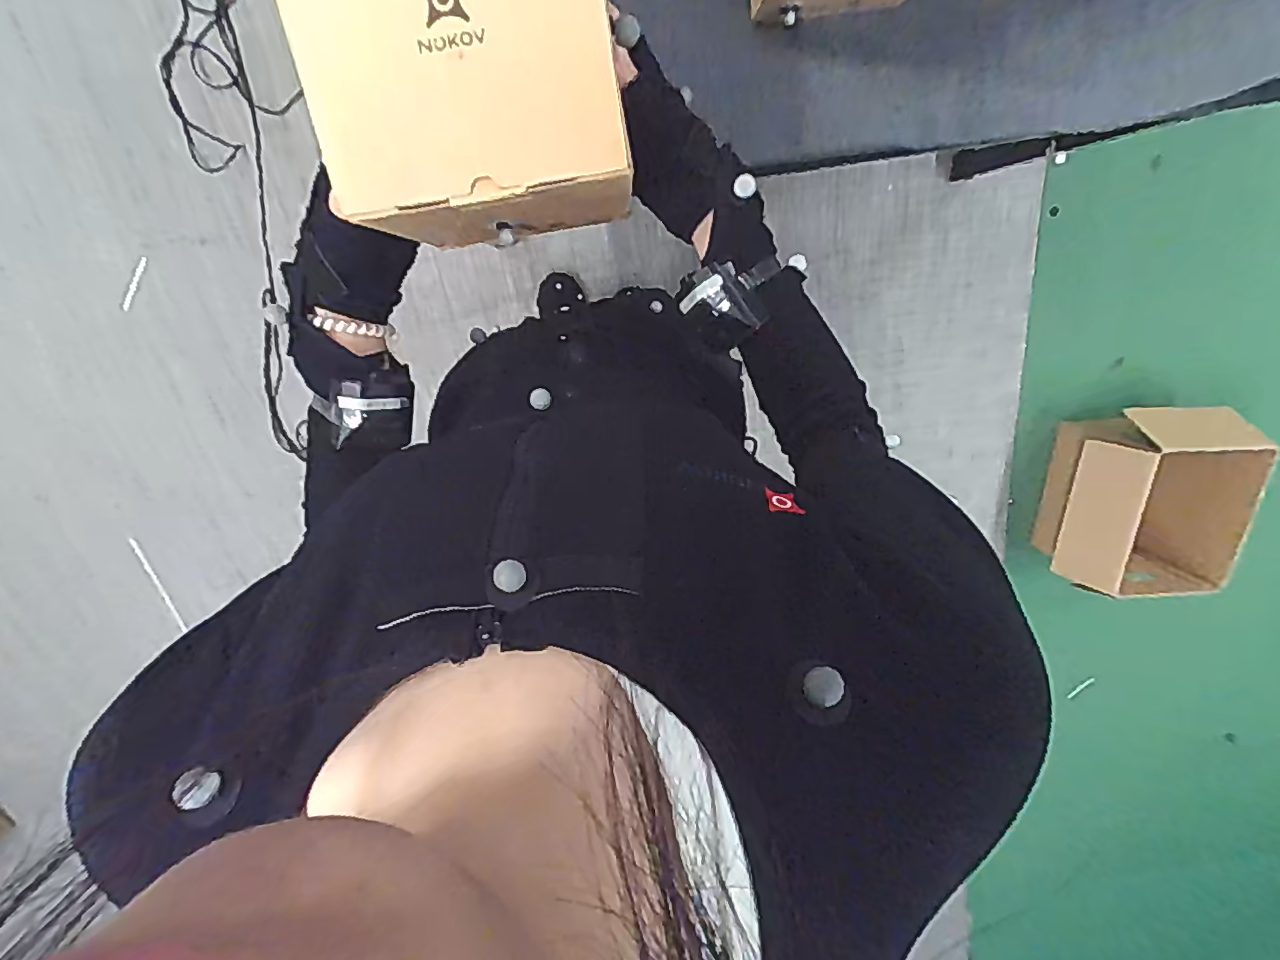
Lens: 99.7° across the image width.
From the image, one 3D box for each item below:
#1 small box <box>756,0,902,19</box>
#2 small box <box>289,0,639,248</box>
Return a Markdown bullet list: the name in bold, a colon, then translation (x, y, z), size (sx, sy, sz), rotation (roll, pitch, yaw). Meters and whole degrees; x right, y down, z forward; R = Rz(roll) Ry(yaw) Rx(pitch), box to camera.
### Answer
- **small box**: translation (0.197, -0.551, 0.481), size (0.168, 0.176, 0.179), rotation (-8, 110, -2)
- **small box**: translation (-0.097, -0.263, 0.352), size (0.168, 0.176, 0.179), rotation (-10, 109, 1)
